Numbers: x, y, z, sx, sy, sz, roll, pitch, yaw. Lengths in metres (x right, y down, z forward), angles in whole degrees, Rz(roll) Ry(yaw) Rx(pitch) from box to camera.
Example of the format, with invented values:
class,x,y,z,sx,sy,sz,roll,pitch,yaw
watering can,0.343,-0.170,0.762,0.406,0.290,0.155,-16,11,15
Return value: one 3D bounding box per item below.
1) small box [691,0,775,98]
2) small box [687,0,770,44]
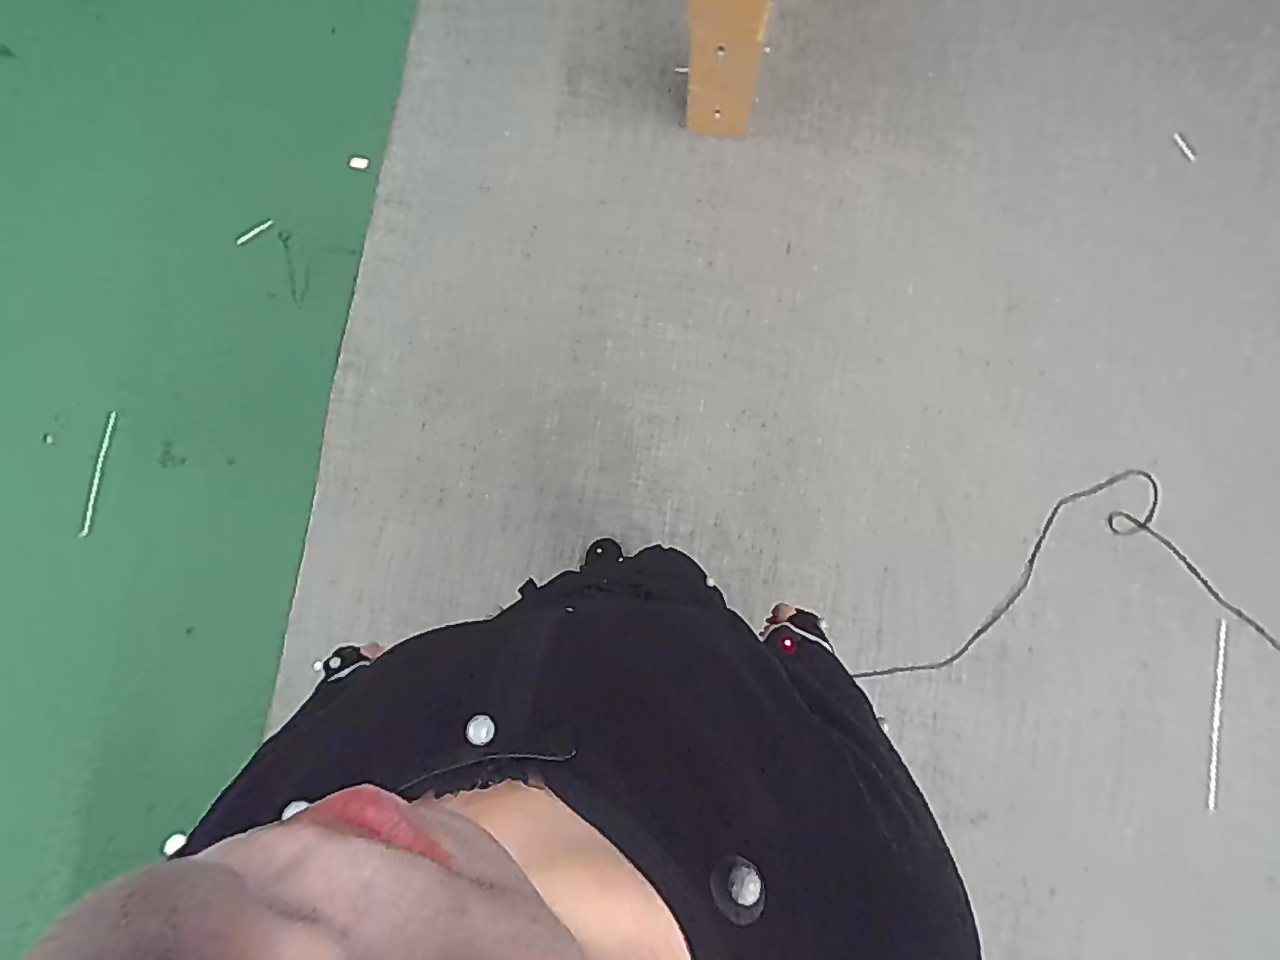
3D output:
class,x,y,z,sx,sy,sz,roll,pitch,yaw
small box,0.227,-1.104,1.358,0.179,0.176,0.168,12,87,4
small box,0.207,-1.120,1.197,0.179,0.176,0.168,15,86,4
